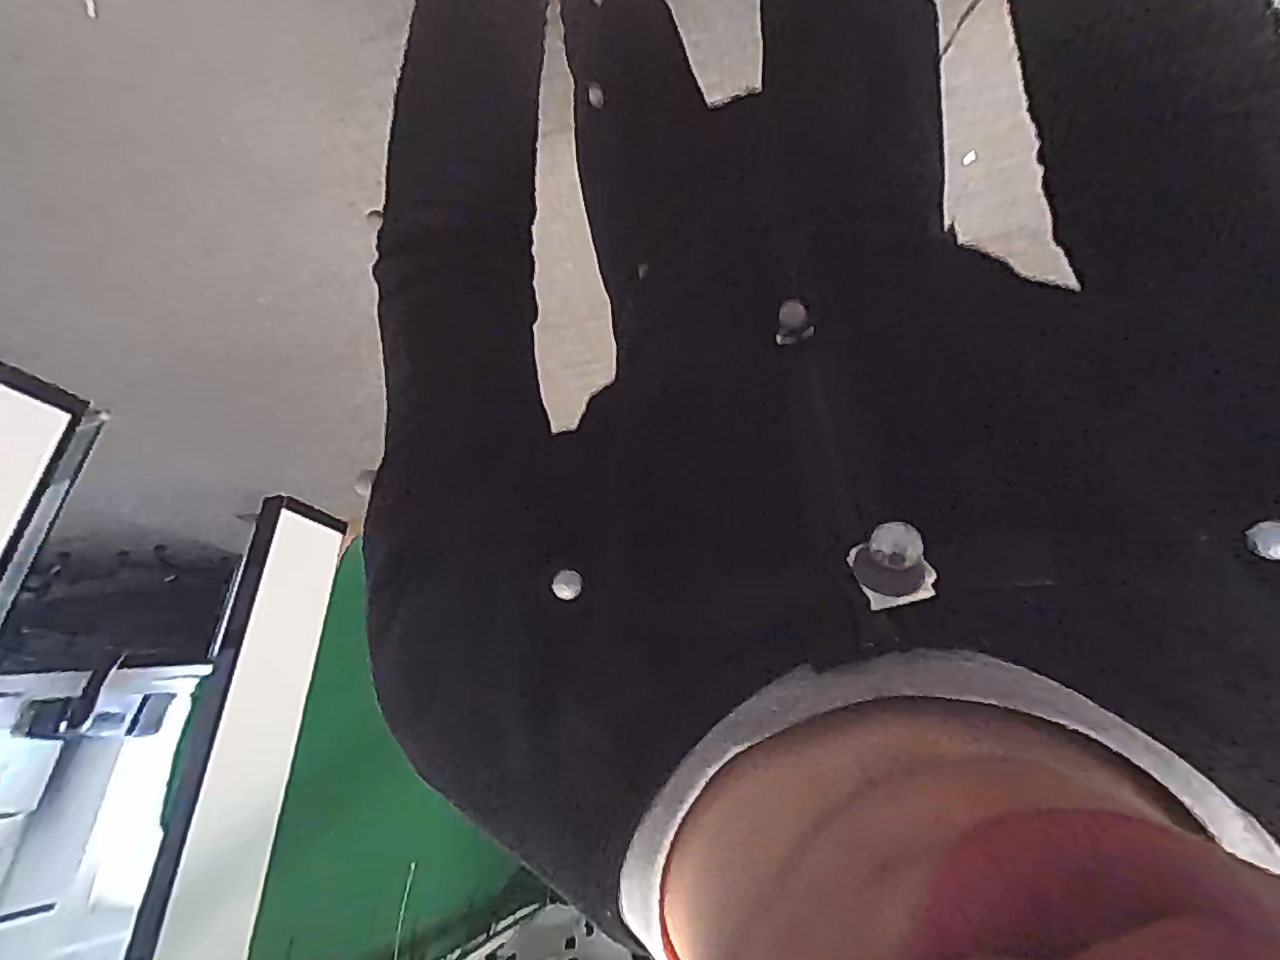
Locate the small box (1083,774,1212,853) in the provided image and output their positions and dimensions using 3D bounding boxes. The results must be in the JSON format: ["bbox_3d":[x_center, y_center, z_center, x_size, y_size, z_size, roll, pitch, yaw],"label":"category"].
[{"bbox_3d":[1.372,0.904,1.476,0.179,0.176,0.168,-11,151,15],"label":"small box"}]
